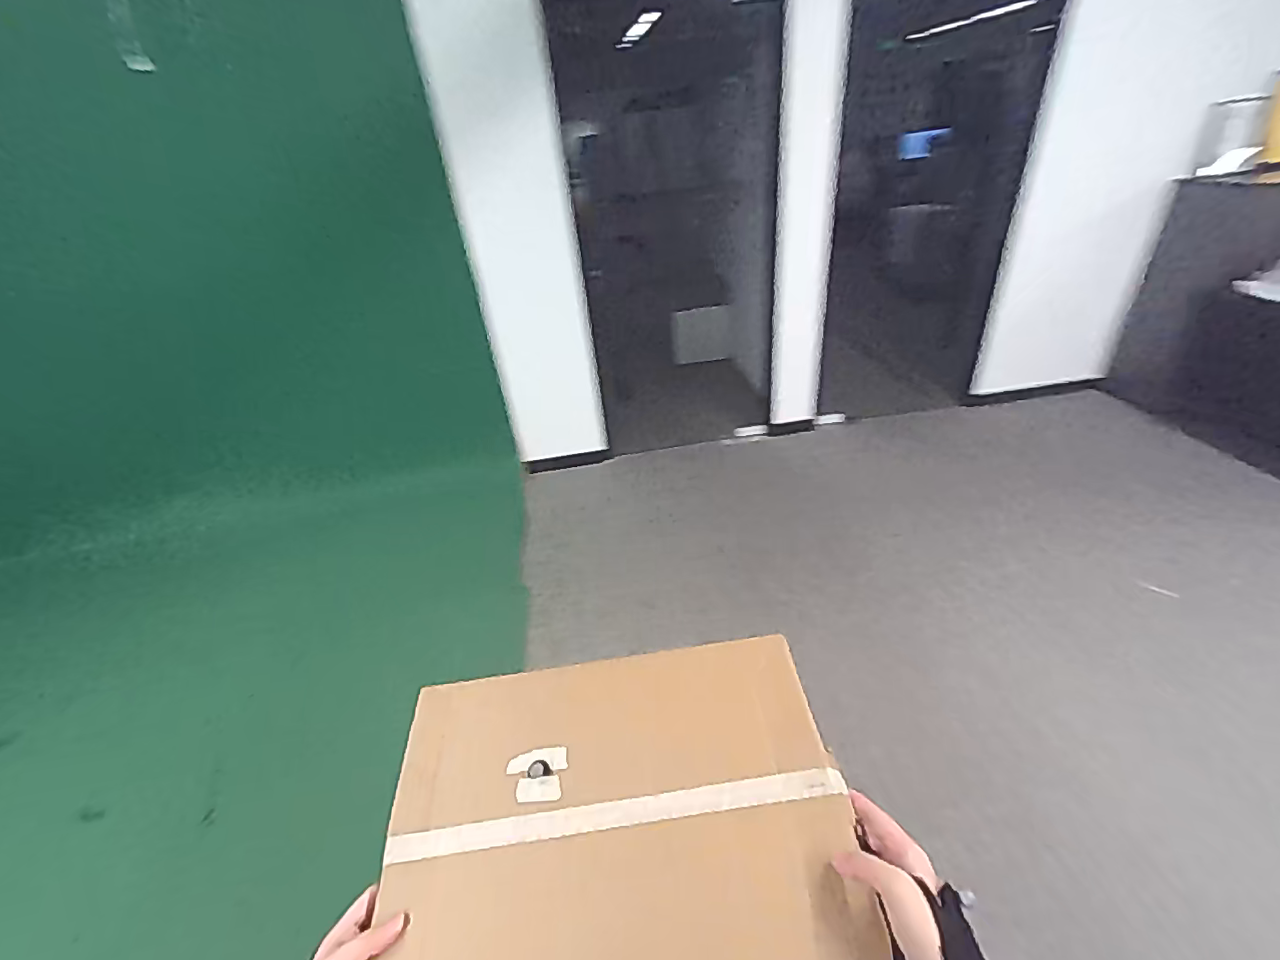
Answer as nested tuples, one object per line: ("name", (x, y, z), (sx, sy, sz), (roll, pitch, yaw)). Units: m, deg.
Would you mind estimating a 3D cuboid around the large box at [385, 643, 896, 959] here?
("large box", (0.005, 0.421, 0.586), (0.408, 0.320, 0.320), (-9, 40, 2))
